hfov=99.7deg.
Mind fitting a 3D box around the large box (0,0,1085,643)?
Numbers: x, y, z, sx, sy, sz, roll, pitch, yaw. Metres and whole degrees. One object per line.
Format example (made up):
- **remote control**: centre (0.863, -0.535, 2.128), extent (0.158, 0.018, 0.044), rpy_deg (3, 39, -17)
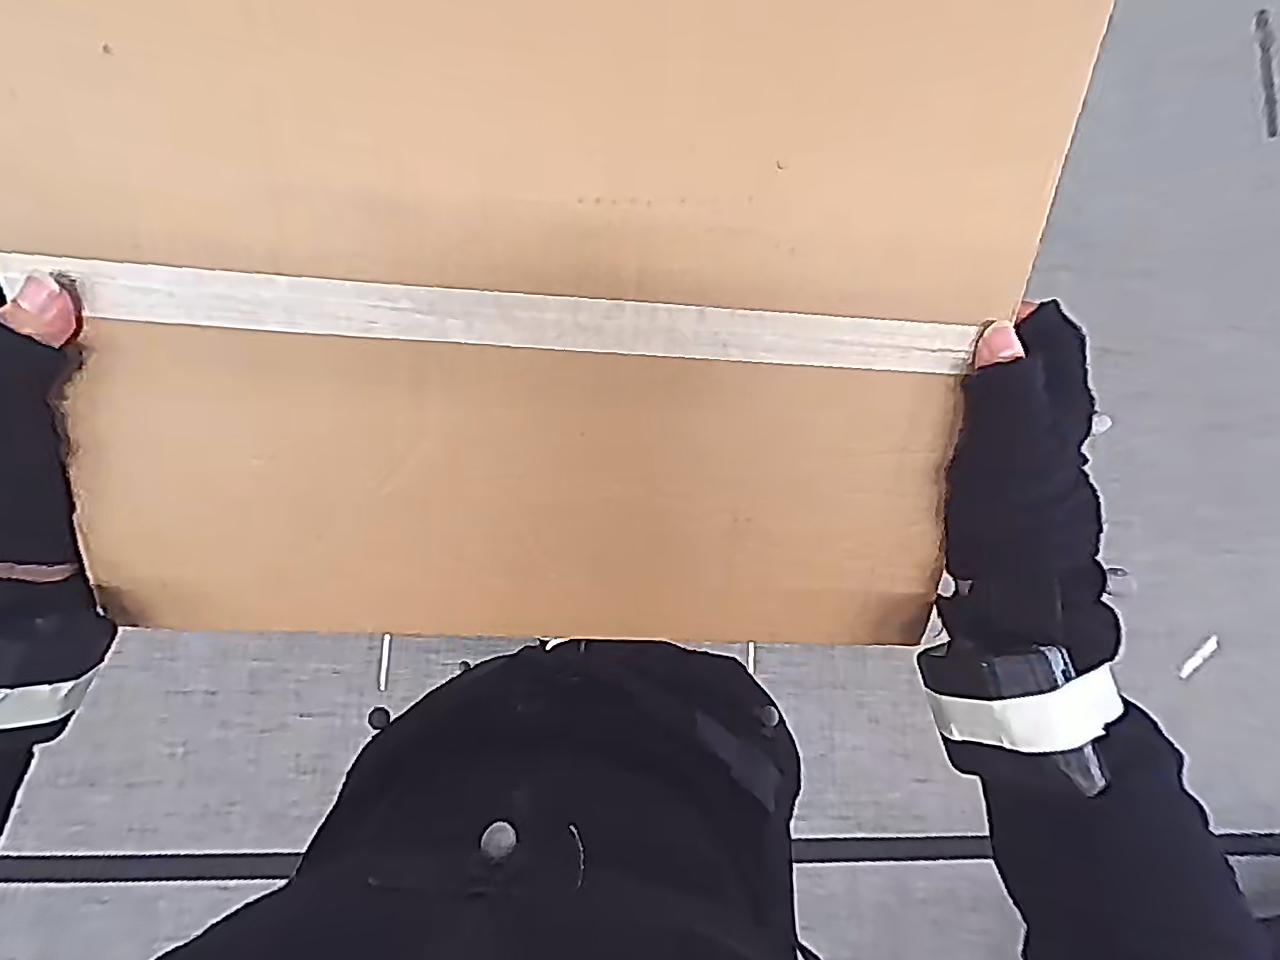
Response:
- **large box**: centre (-0.048, -0.110, 0.374), extent (0.408, 0.320, 0.320), rpy_deg (3, 110, -5)
